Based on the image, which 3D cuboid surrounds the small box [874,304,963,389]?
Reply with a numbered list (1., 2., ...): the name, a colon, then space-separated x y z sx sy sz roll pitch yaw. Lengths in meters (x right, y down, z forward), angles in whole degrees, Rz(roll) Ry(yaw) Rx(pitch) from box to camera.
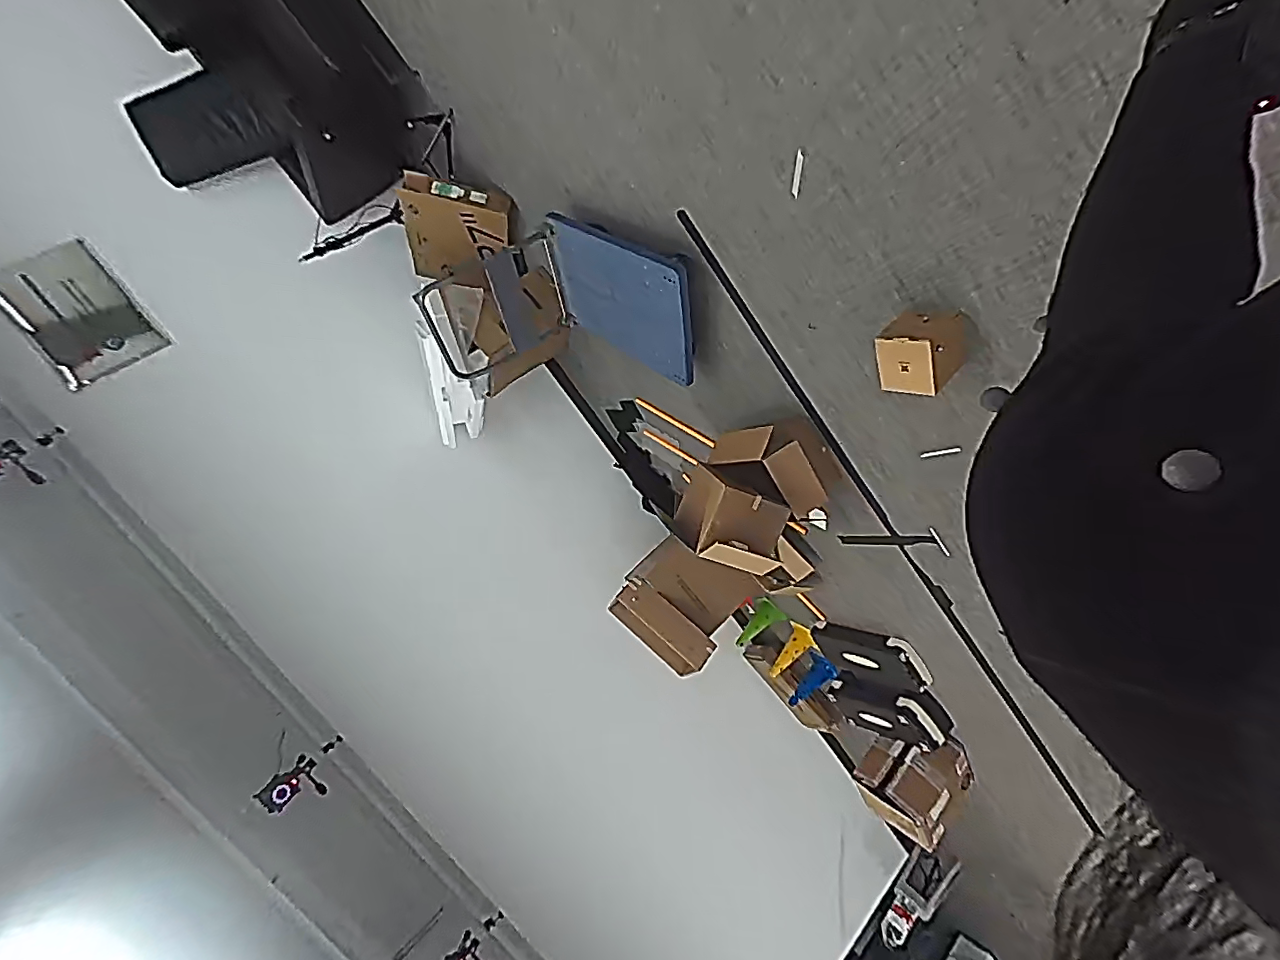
1. small box: 0.810 -0.389 1.565 0.168 0.176 0.179 23 146 51
